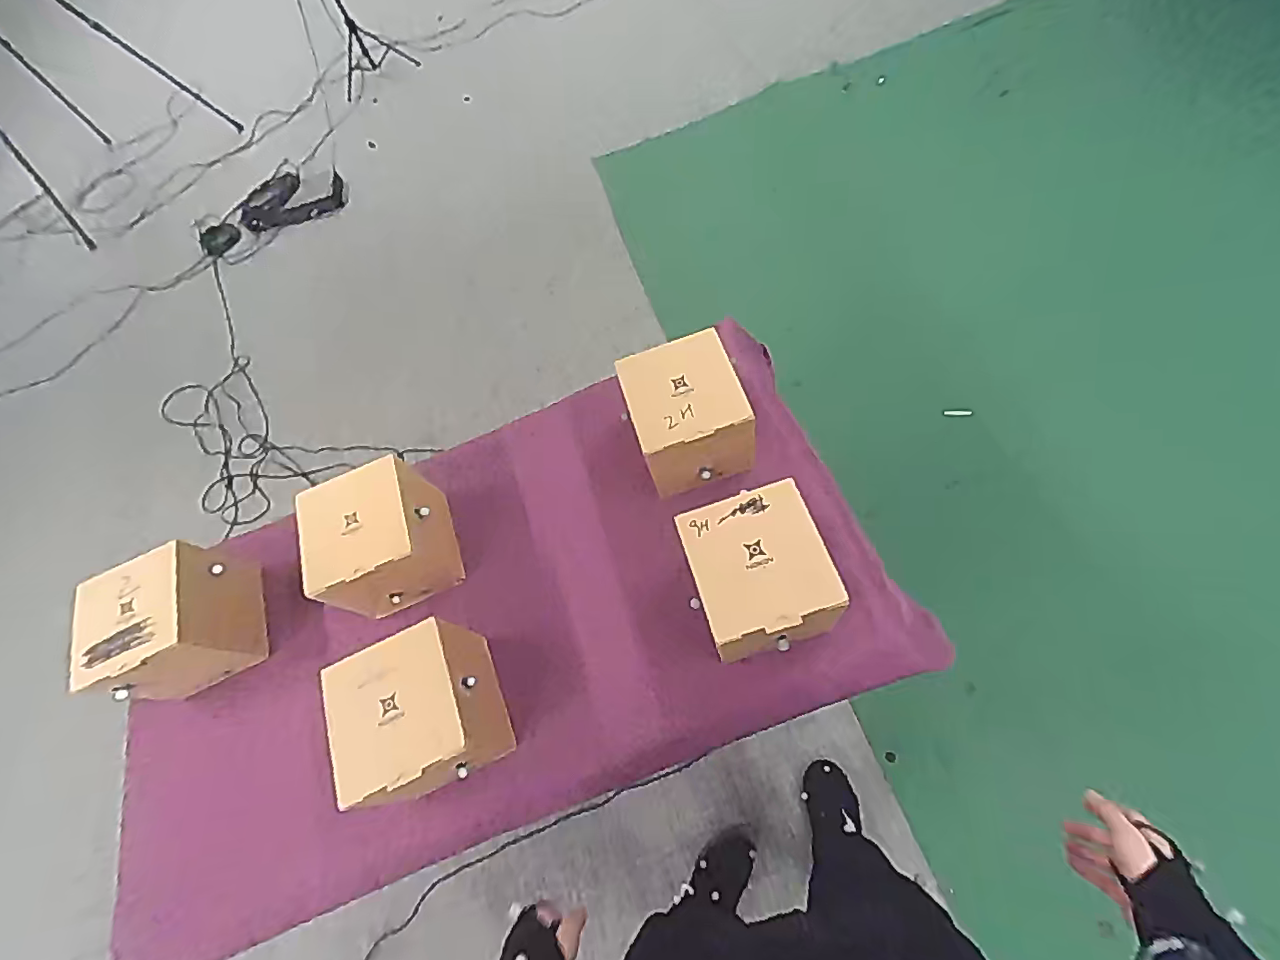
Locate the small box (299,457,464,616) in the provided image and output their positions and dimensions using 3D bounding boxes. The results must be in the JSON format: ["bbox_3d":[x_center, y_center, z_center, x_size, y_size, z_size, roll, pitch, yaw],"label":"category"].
[{"bbox_3d":[-0.407,0.097,0.867,0.168,0.176,0.179,-23,65,0],"label":"small box"}]

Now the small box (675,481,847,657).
[{"bbox_3d":[0.159,0.131,0.735,0.168,0.176,0.179,-19,63,3],"label":"small box"}]

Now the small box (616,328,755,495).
[{"bbox_3d":[0.075,-0.101,0.859,0.168,0.176,0.179,-19,65,4],"label":"small box"}]

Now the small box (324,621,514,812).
[{"bbox_3d":[-0.293,0.320,0.742,0.168,0.176,0.179,-25,62,-2],"label":"small box"}]
